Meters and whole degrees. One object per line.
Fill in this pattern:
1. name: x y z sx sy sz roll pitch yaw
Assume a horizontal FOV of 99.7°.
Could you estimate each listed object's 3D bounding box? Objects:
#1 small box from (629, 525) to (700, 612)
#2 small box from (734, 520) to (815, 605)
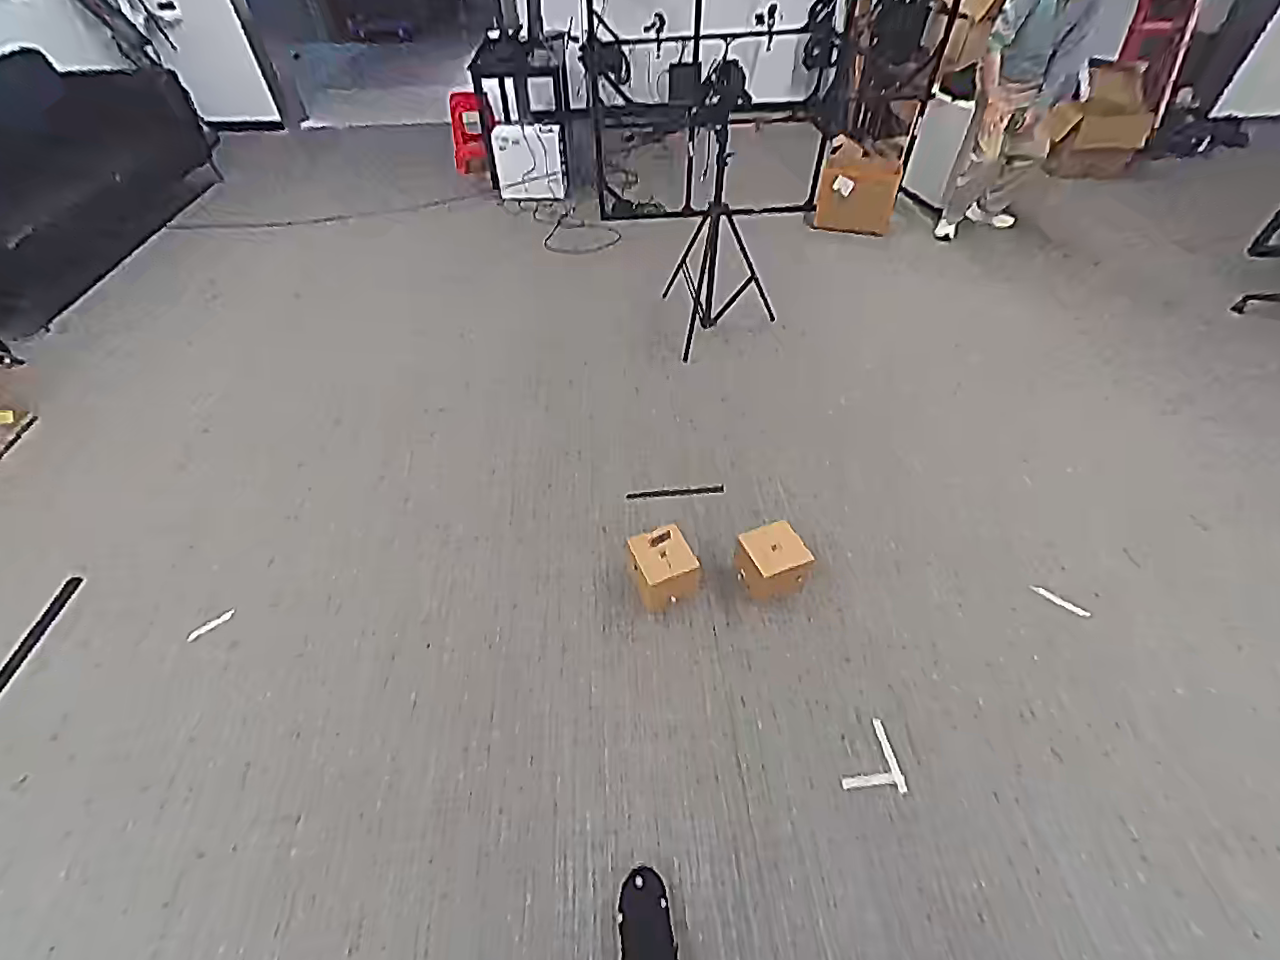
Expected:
1. small box: 0.071 0.274 1.672 0.168 0.176 0.179 -19 50 -15
2. small box: 0.410 0.257 1.681 0.179 0.176 0.168 -18 49 -14
